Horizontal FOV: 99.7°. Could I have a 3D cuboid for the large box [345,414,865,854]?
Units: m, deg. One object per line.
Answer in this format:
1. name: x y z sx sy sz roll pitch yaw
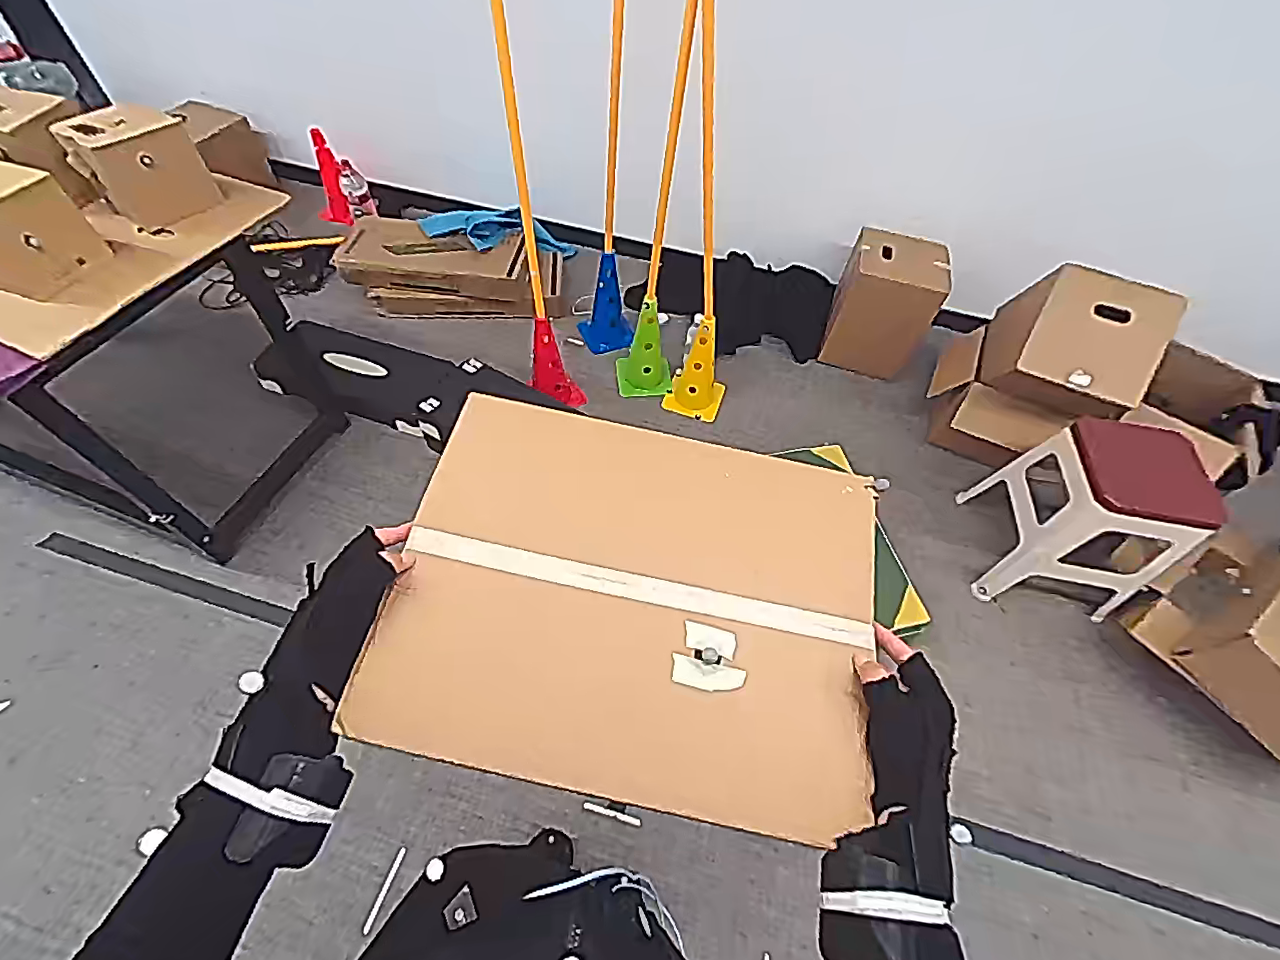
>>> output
1. large box: -0.016 0.171 0.601 0.408 0.320 0.320 13 64 1
